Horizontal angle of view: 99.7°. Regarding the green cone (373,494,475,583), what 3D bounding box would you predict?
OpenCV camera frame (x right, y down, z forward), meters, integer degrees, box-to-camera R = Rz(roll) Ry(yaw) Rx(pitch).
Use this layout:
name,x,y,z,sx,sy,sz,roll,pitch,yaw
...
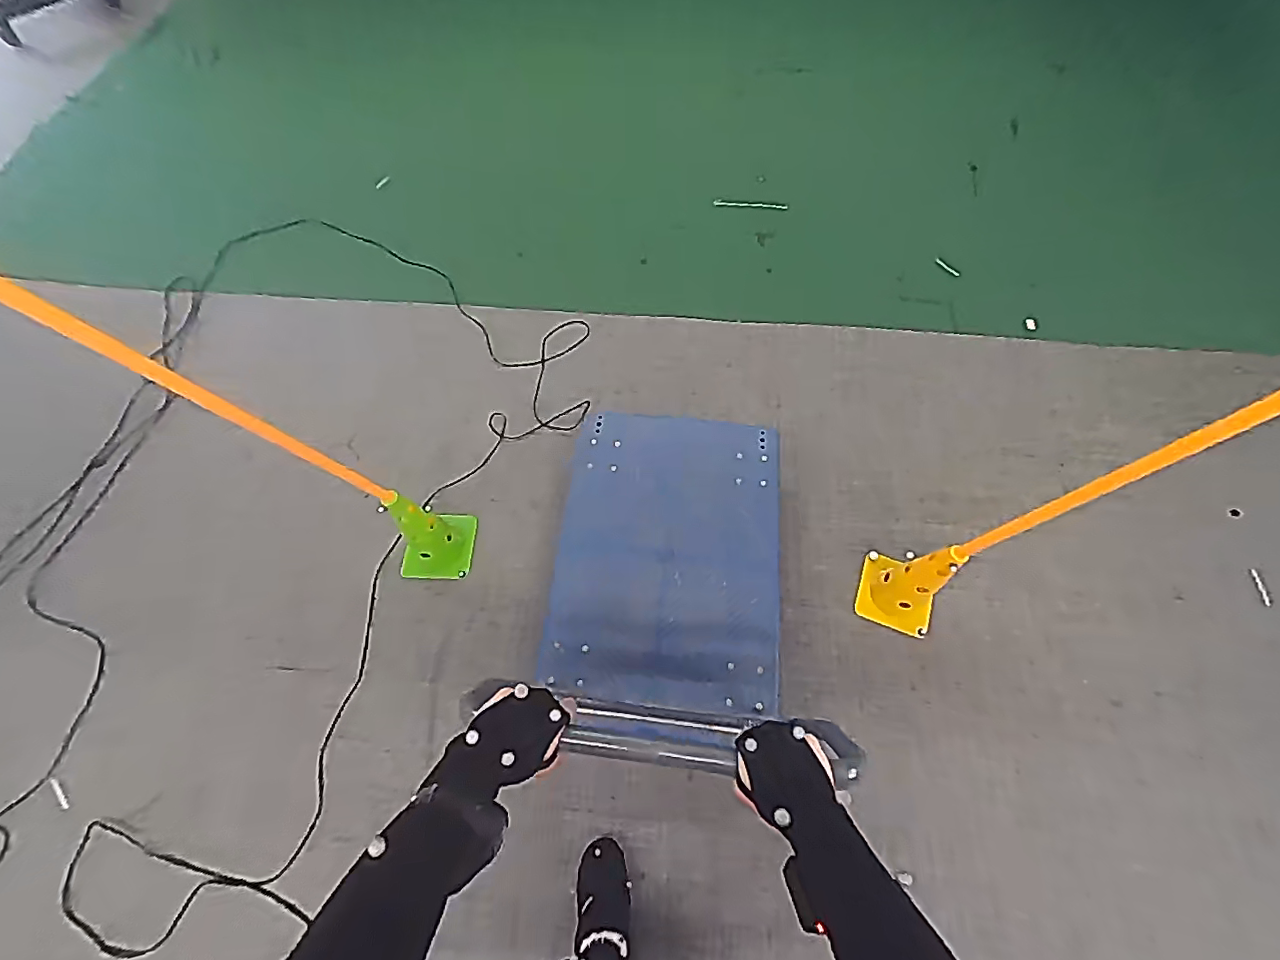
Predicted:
name,x,y,z,sx,sy,sz,roll,pitch,yaw
green cone,-0.606,0.128,1.448,0.202,0.368,0.200,0,63,3
